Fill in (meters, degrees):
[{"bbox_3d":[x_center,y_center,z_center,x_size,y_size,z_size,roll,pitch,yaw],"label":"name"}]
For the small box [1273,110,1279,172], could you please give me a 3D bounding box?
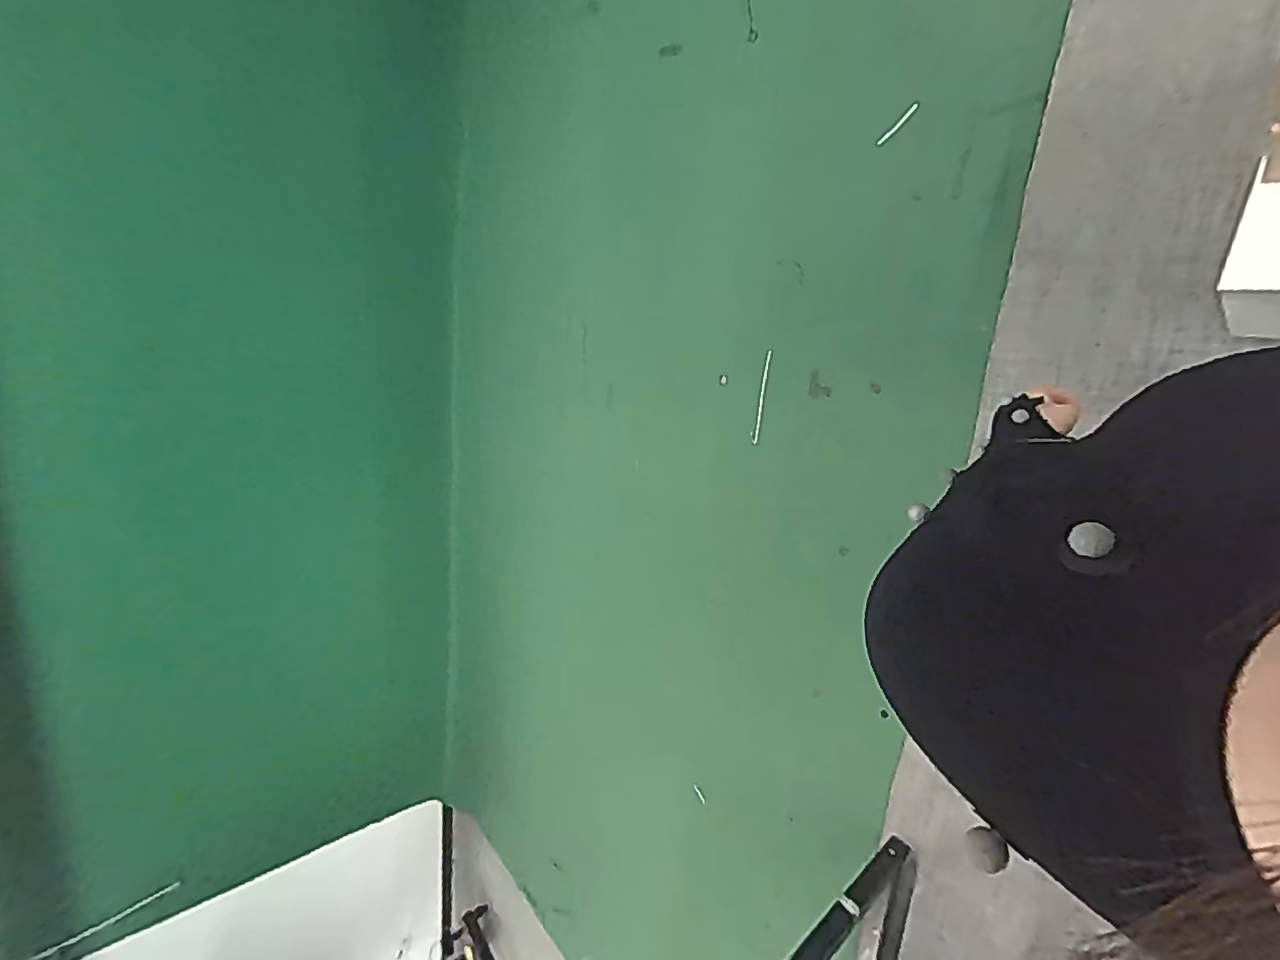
[{"bbox_3d":[0.711,-0.393,0.478,0.168,0.176,0.179,21,111,45],"label":"small box"}]
